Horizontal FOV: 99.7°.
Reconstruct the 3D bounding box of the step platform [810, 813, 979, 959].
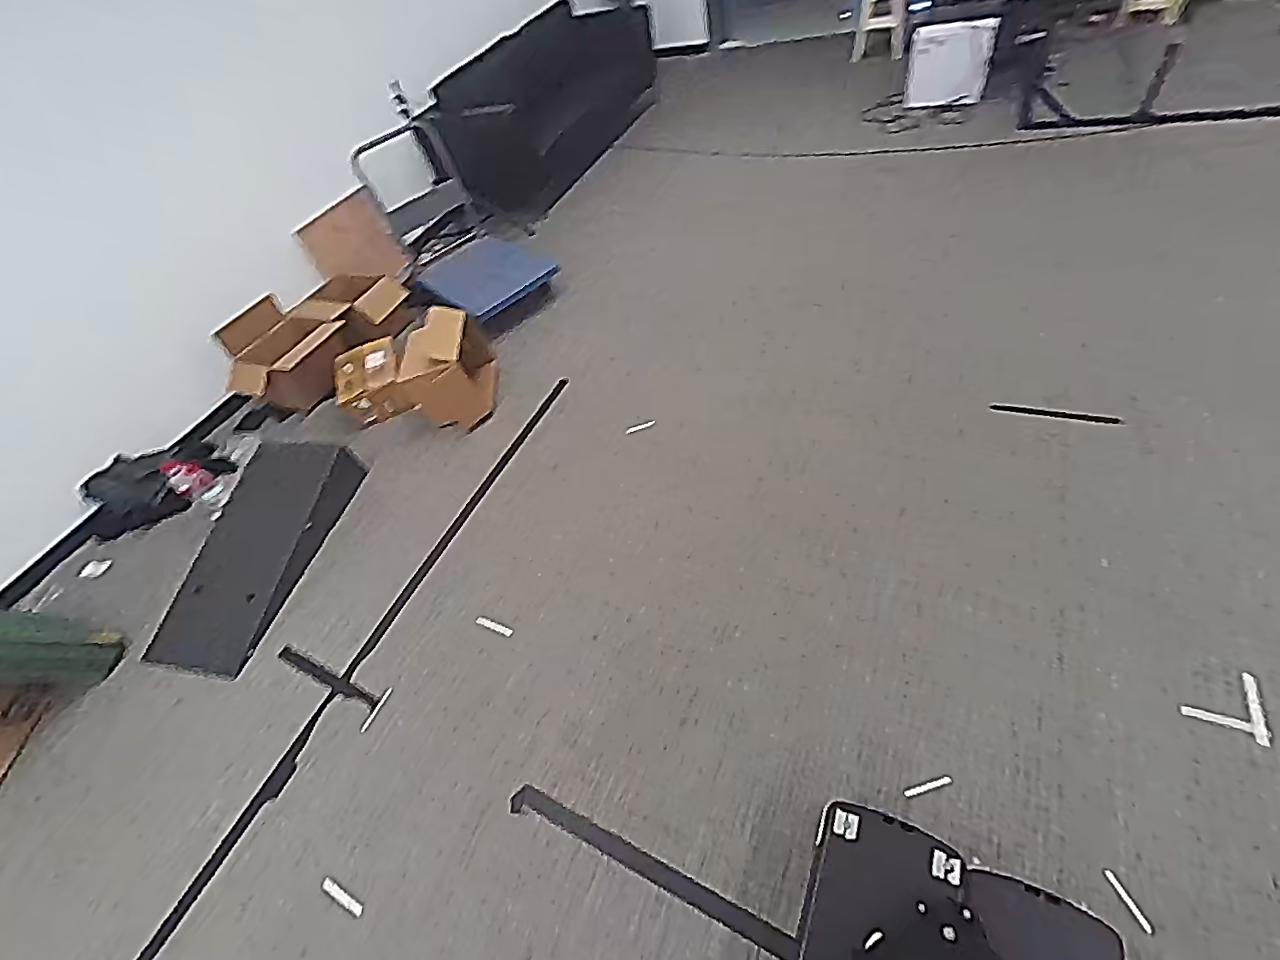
[{"bbox_3d":[0.460,1.051,1.044,0.286,0.204,0.684,12,54,24],"label":"step platform"}]
